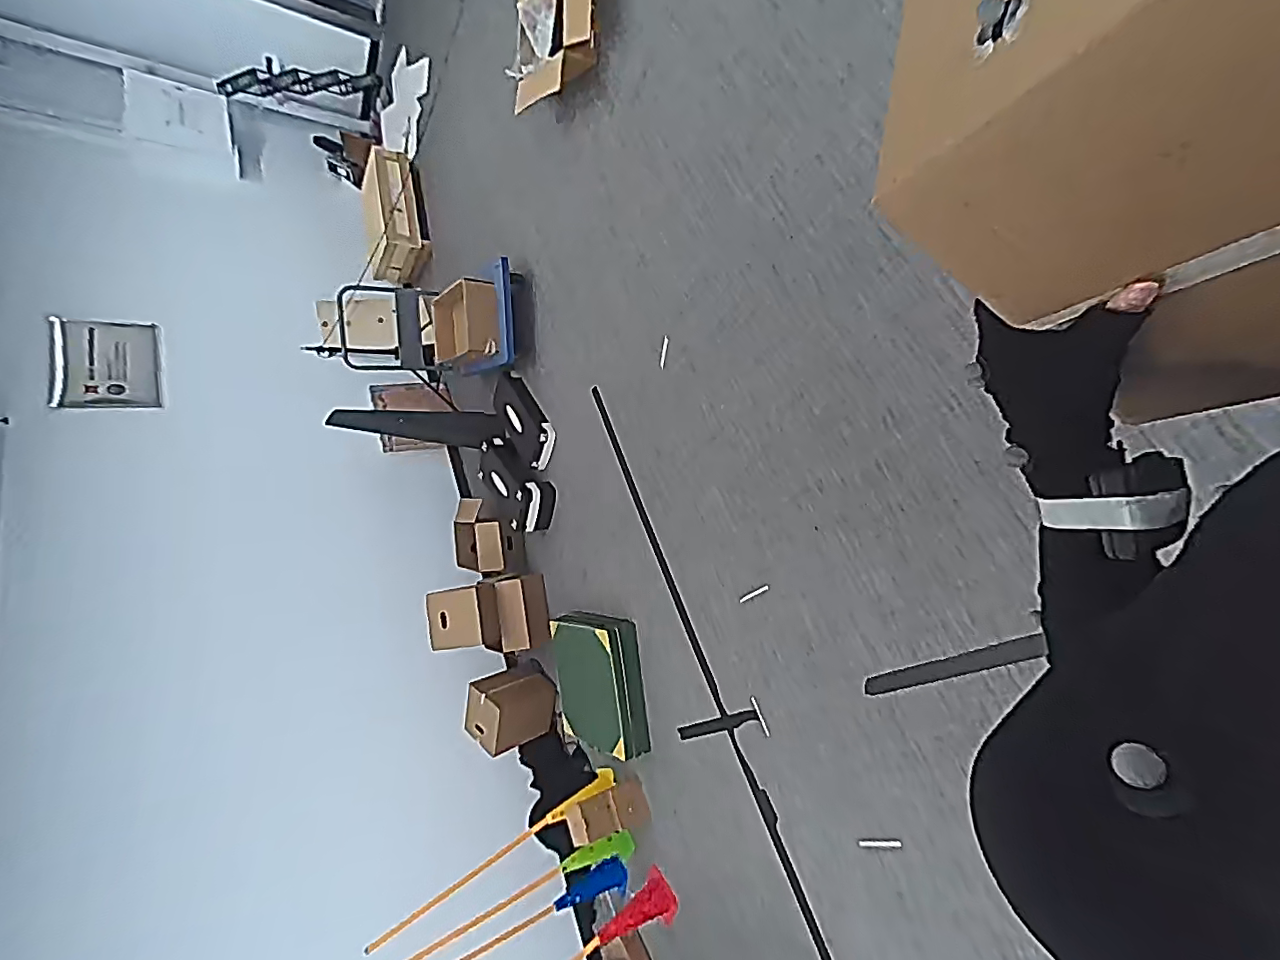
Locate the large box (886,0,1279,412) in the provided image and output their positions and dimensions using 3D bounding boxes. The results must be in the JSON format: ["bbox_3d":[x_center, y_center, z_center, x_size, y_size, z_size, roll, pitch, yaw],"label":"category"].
[{"bbox_3d":[0.402,-0.282,0.260,0.408,0.320,0.320,-19,51,59],"label":"large box"}]
